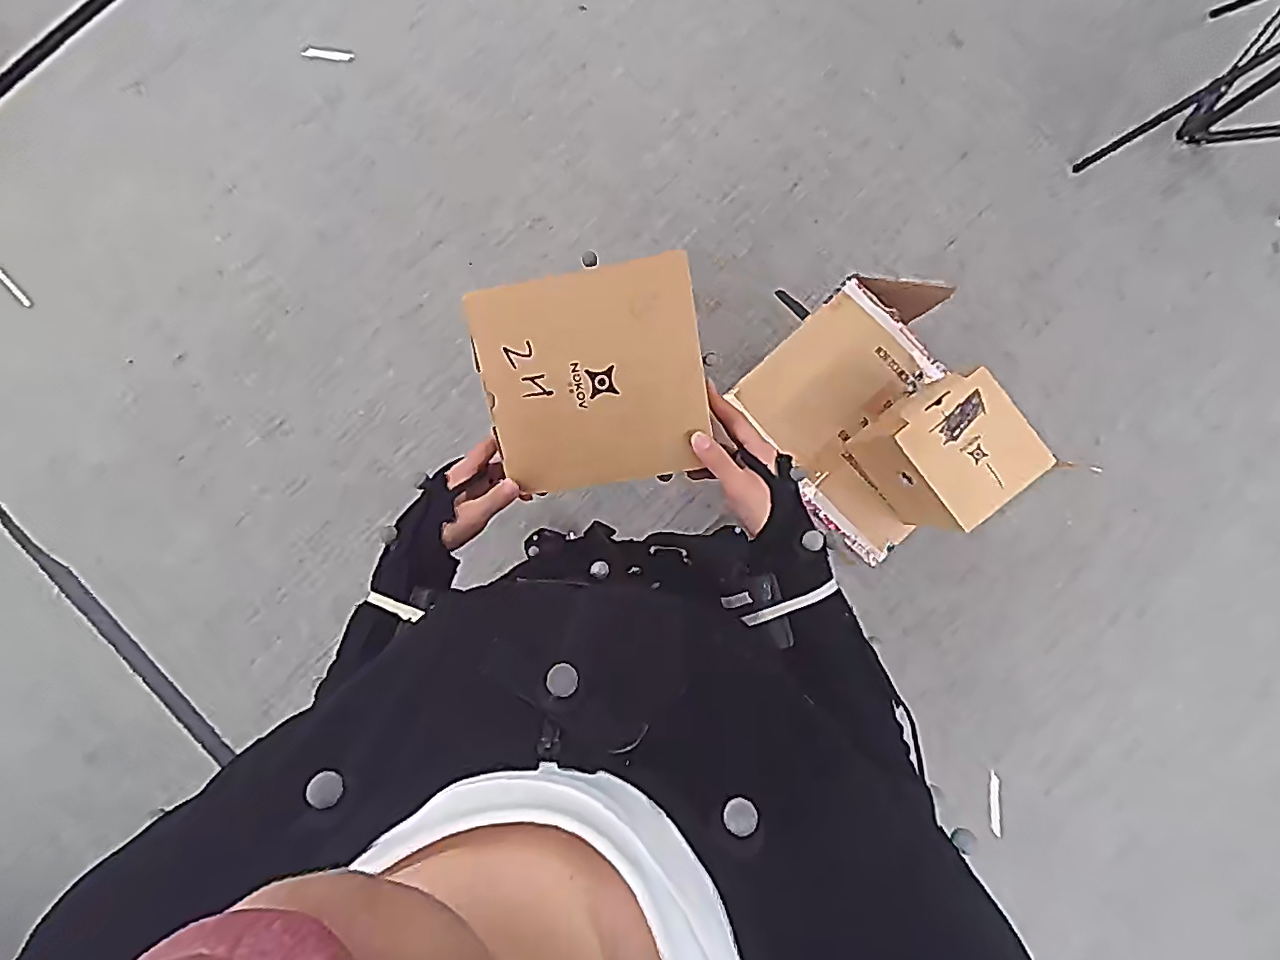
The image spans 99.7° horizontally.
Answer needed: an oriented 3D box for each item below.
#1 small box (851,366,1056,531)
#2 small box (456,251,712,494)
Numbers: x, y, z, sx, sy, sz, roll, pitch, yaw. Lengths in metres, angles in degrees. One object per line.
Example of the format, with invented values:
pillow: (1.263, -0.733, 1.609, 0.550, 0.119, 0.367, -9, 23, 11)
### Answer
small box: (0.460, -0.042, 0.827, 0.168, 0.176, 0.179, -38, 91, -1)
small box: (-0.035, -0.100, 0.491, 0.179, 0.176, 0.168, -8, 106, 8)
